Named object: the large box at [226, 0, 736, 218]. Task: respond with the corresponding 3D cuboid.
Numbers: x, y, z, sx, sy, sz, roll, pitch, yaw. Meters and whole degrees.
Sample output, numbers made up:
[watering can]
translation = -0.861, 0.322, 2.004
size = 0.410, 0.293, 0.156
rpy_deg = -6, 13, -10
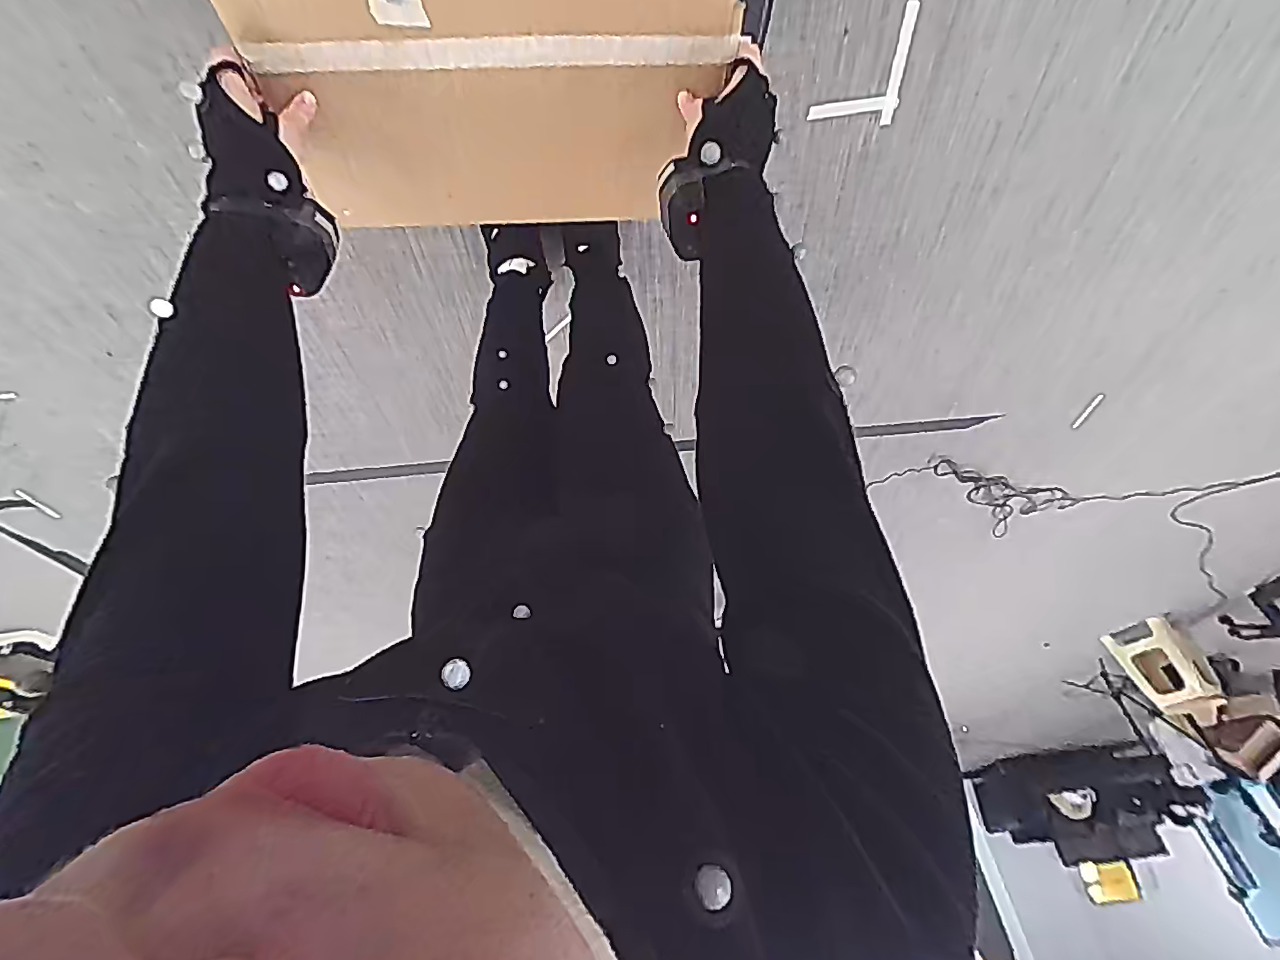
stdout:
[large box]
translation = -0.127, -0.491, 0.519
size = 0.408, 0.320, 0.320
rpy_deg = -3, 148, -2
